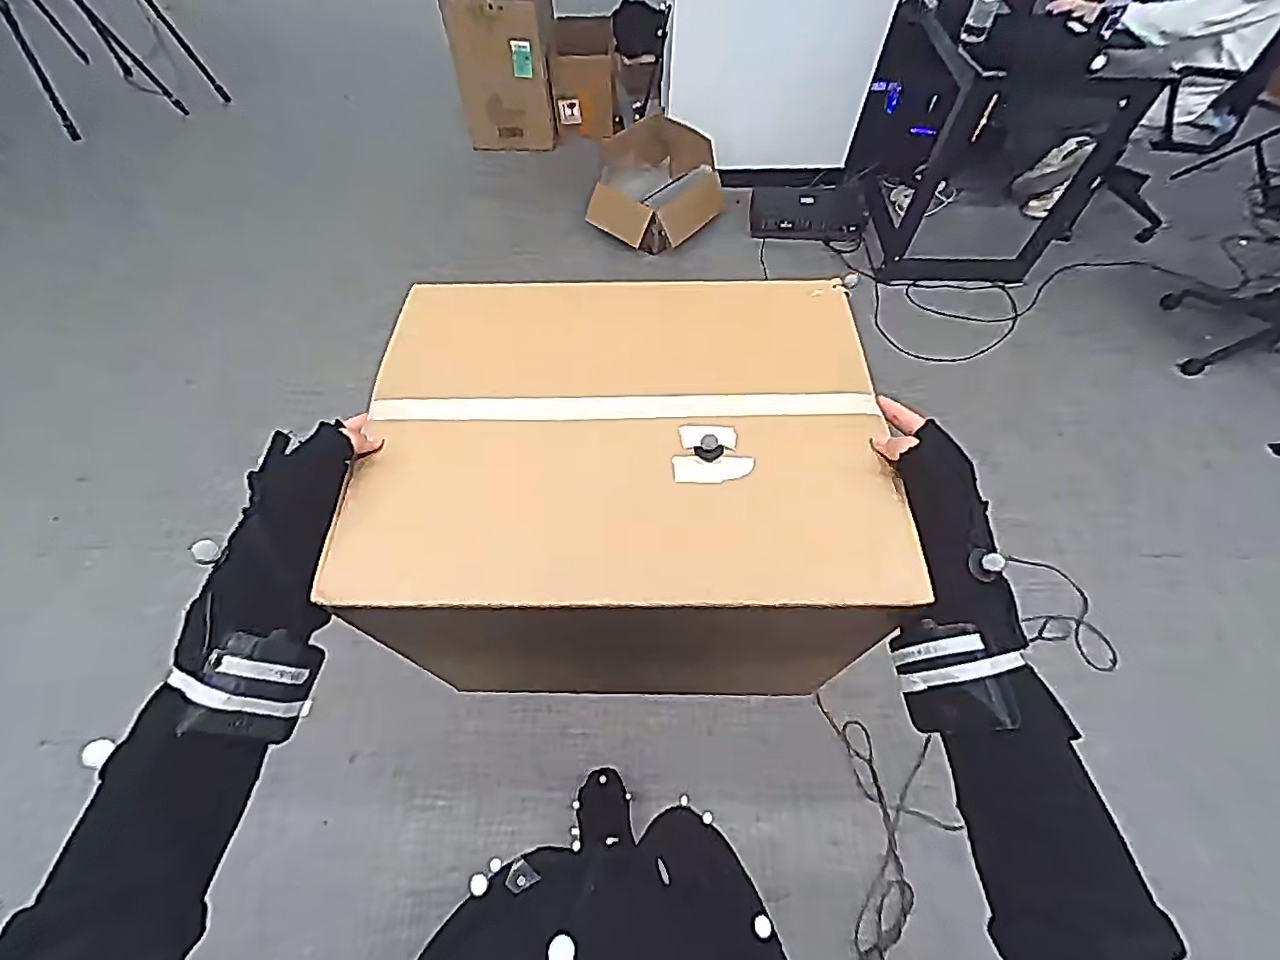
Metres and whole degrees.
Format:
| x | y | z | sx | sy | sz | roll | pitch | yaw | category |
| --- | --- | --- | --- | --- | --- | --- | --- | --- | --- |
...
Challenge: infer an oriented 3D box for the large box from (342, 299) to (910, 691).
| x | y | z | sx | sy | sz | roll | pitch | yaw | category |
| --- | --- | --- | --- | --- | --- | --- | --- | --- | --- |
| -0.010 | 0.032 | 0.576 | 0.408 | 0.320 | 0.320 | 0 | 59 | 1 | large box |
